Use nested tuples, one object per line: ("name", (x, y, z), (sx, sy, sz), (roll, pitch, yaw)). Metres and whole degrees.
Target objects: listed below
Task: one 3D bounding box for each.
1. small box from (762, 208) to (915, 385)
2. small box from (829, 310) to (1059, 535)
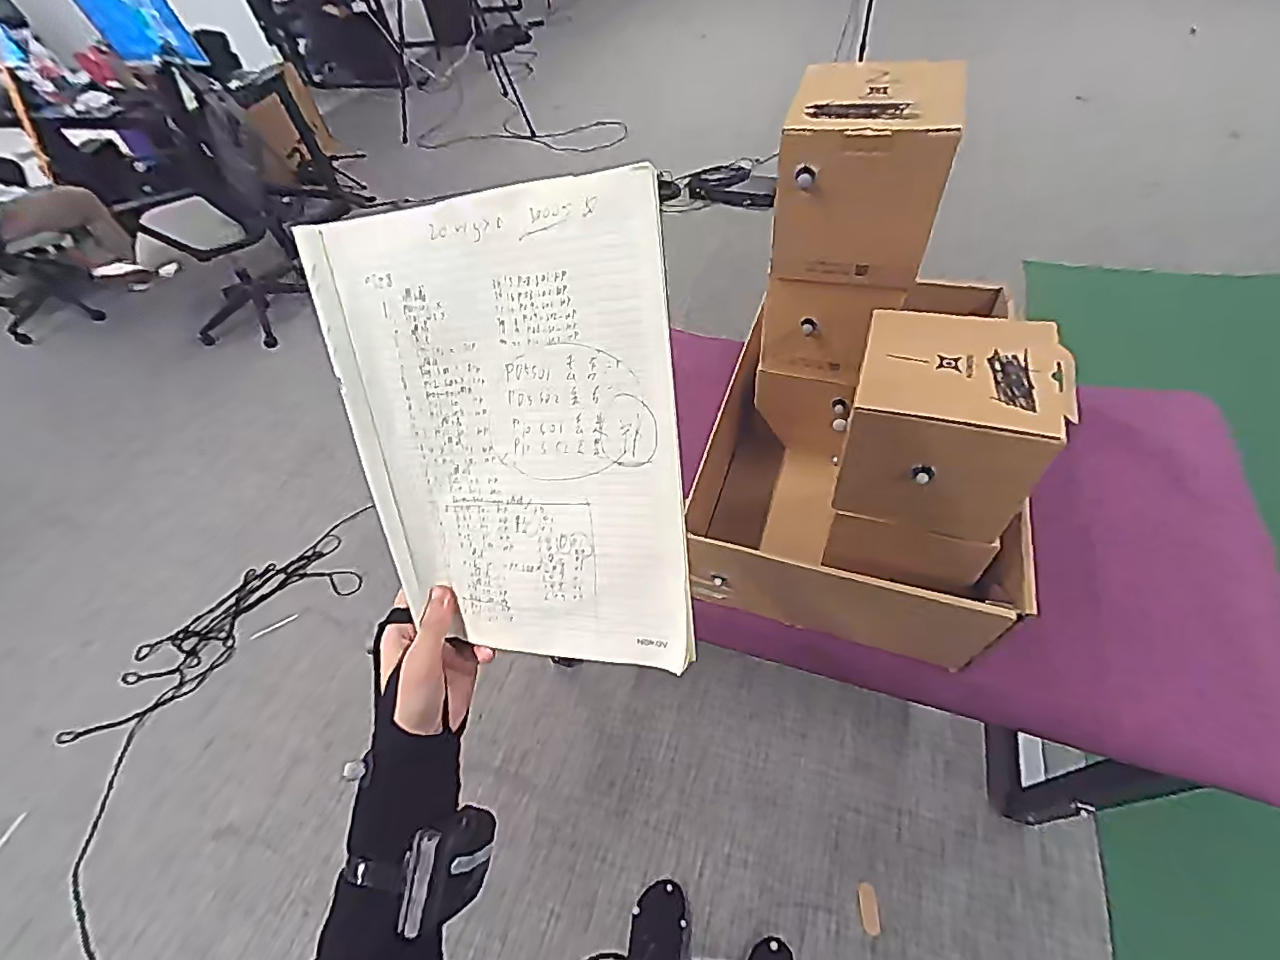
("small box", (0.272, -0.257, 0.766), (0.168, 0.176, 0.179), (13, 57, 18))
("small box", (0.320, -0.061, 0.595), (0.179, 0.176, 0.168), (12, 53, 20))
